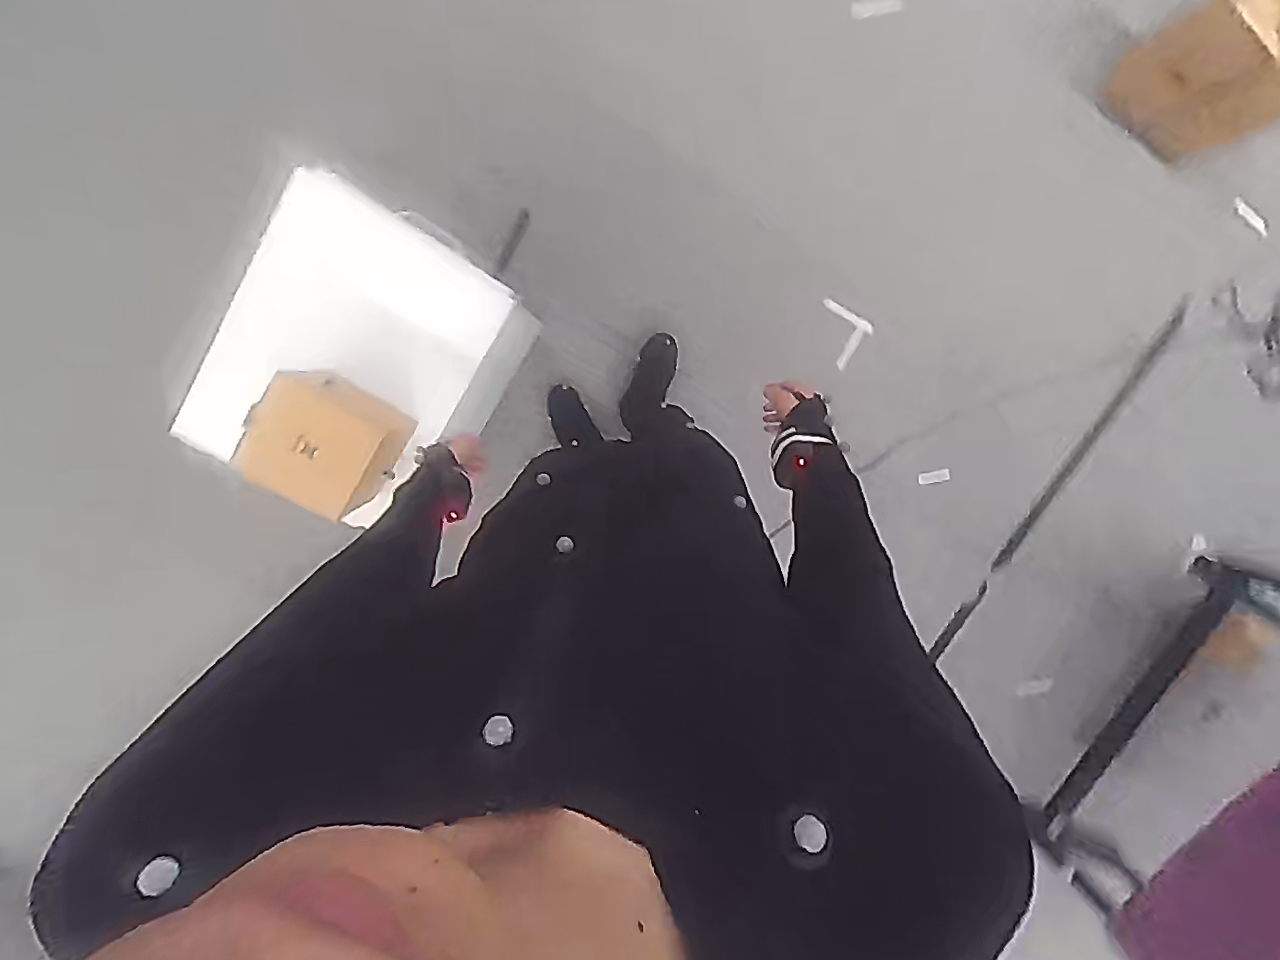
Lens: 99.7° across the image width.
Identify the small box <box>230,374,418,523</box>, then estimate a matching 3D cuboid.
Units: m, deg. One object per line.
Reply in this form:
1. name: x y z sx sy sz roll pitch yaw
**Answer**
1. small box: -0.500 -0.057 0.883 0.179 0.176 0.168 31 98 -10
